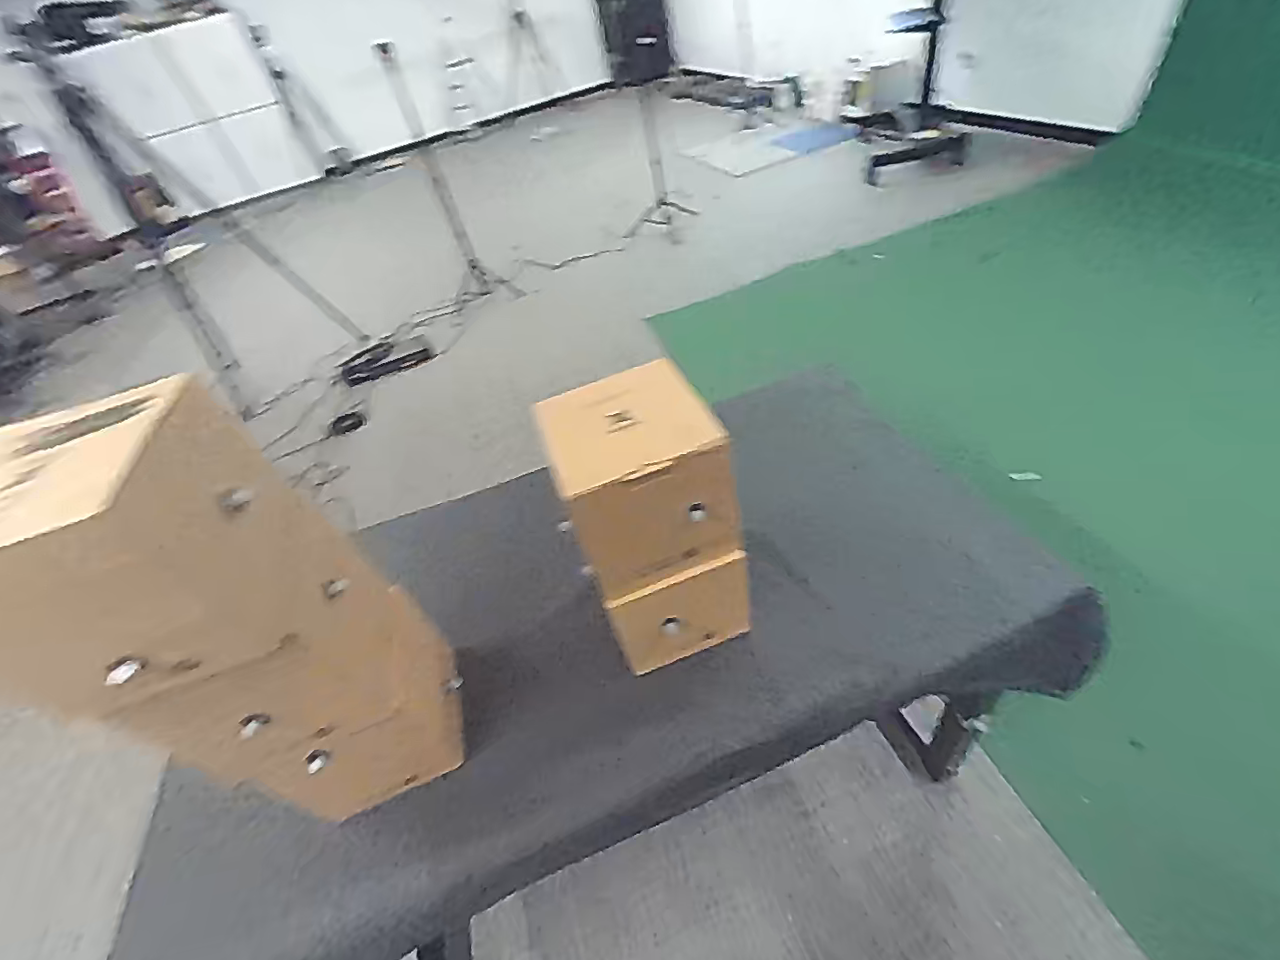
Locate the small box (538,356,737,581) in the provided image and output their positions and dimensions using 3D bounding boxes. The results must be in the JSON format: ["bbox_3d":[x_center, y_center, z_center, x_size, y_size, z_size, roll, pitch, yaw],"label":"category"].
[{"bbox_3d":[0.000,-0.008,0.613,0.168,0.176,0.179,-20,42,-7],"label":"small box"}]

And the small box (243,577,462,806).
[{"bbox_3d":[-0.334,0.258,0.663,0.168,0.176,0.179,-21,43,-7],"label":"small box"}]

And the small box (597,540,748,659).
[{"bbox_3d":[0.033,0.113,0.716,0.168,0.176,0.179,-20,43,-5],"label":"small box"}]
